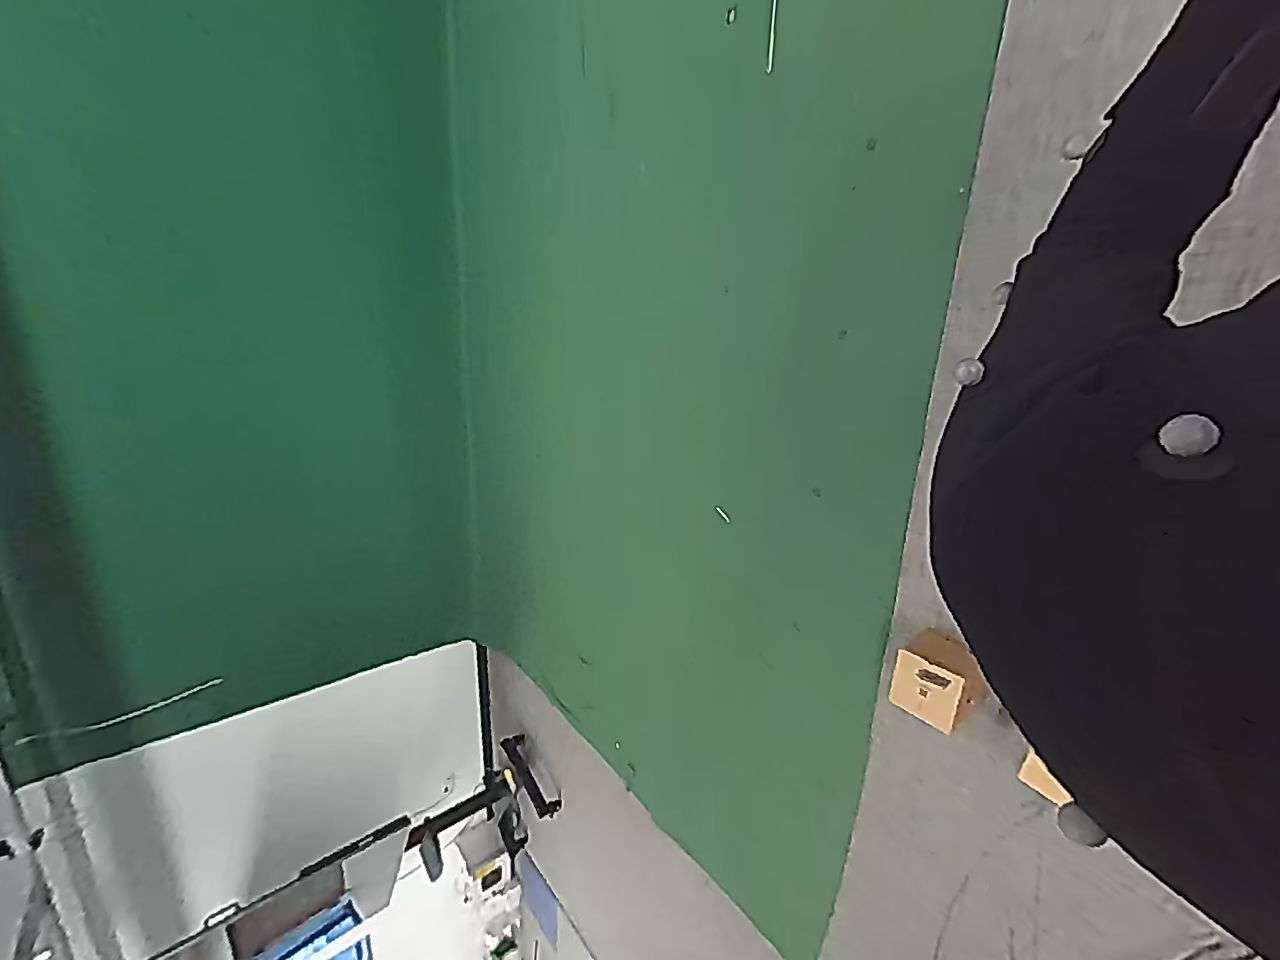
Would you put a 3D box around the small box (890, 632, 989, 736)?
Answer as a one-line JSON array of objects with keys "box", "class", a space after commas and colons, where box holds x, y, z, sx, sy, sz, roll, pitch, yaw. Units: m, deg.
[{"box": [0.806, 0.536, 1.449, 0.168, 0.176, 0.179, 23, 117, 47], "class": "small box"}]
